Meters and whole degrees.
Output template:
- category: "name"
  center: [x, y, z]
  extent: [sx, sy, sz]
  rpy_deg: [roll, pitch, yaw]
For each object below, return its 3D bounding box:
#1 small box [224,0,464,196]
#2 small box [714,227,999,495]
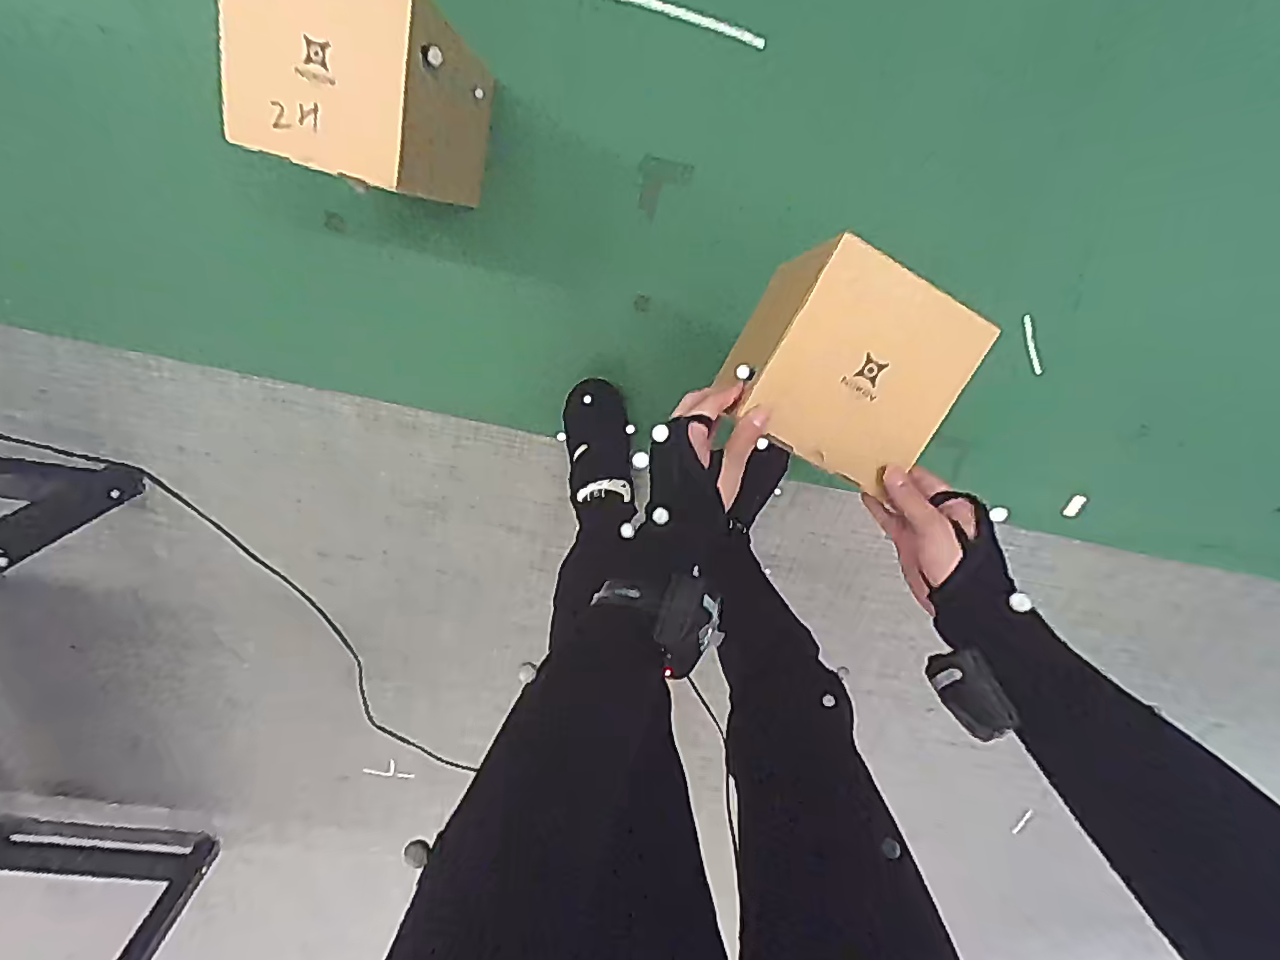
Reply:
- category: "small box"
  center: [-0.296, -0.420, 0.570]
  extent: [0.168, 0.176, 0.179]
  rpy_deg: [14, 113, -7]
- category: "small box"
  center: [0.192, -0.115, 0.540]
  extent: [0.168, 0.176, 0.179]
  rpy_deg: [27, 102, -10]
